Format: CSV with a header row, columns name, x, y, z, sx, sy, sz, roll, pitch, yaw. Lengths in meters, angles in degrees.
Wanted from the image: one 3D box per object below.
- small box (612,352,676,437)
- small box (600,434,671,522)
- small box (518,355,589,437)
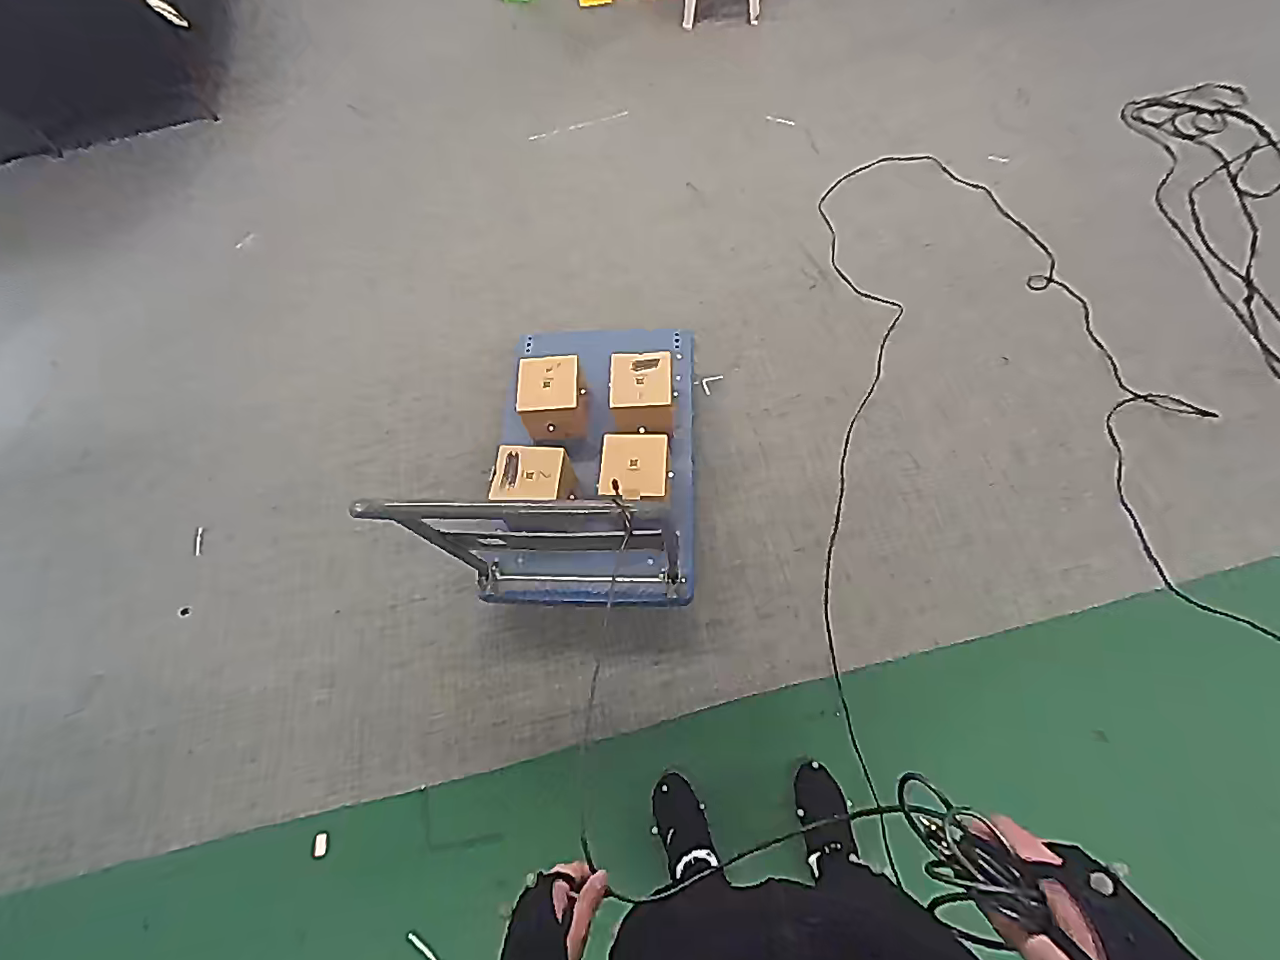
name,x,y,z,sx,sy,sz,roll,pitch,yaw
small box,0.016,-0.237,1.523,0.168,0.176,0.179,-1,67,6
small box,-0.005,-0.003,1.420,0.168,0.176,0.179,2,67,6
small box,-0.240,-0.233,1.546,0.168,0.176,0.179,-3,66,4
